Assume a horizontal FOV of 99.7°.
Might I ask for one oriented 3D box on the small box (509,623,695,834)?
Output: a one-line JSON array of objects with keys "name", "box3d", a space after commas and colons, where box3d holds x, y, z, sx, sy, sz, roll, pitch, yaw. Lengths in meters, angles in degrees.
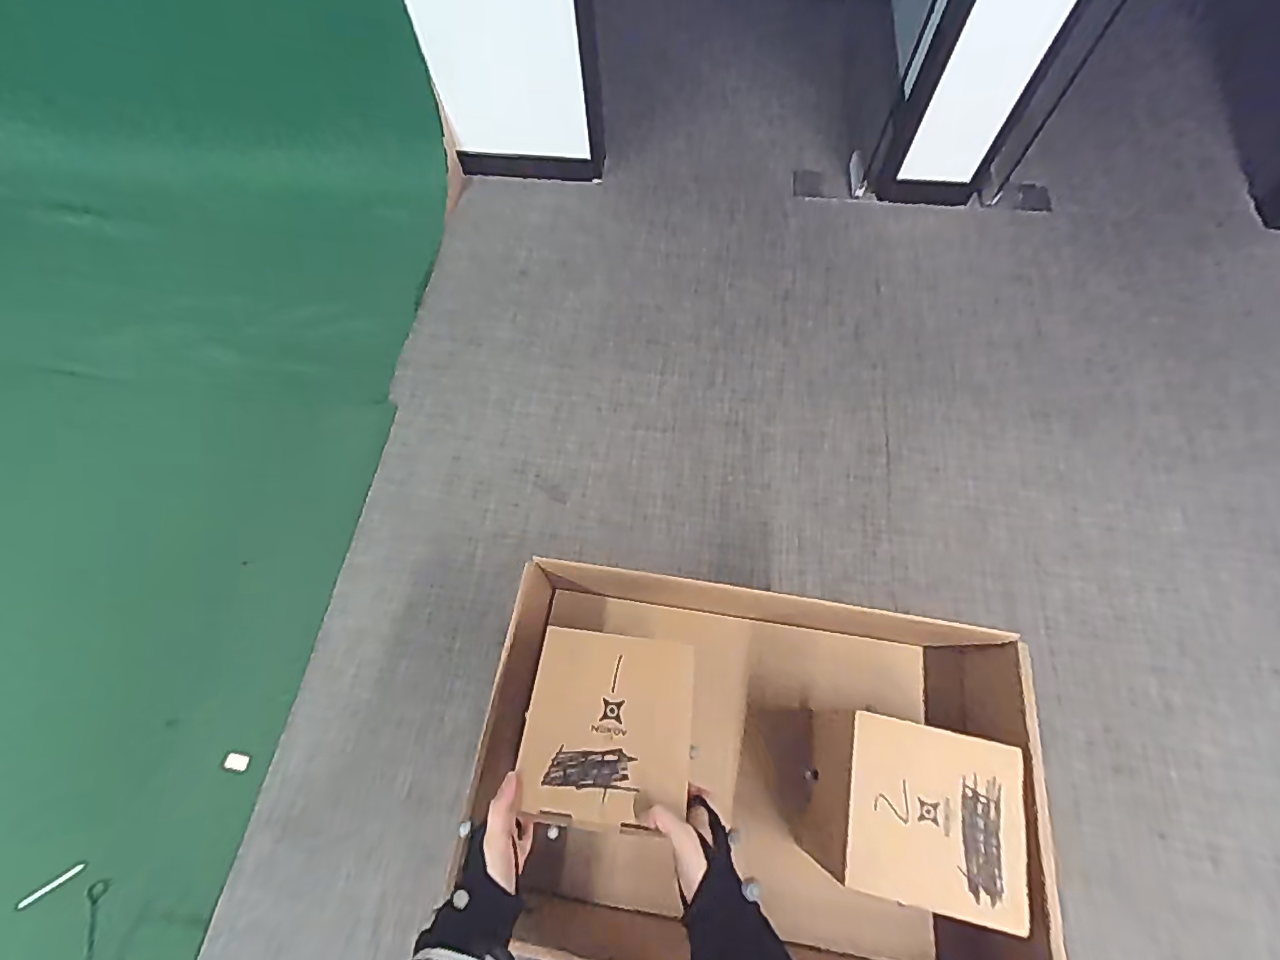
[{"name": "small box", "box3d": [-0.032, 0.283, 0.607, 0.168, 0.176, 0.179, 7, 54, 3]}]
